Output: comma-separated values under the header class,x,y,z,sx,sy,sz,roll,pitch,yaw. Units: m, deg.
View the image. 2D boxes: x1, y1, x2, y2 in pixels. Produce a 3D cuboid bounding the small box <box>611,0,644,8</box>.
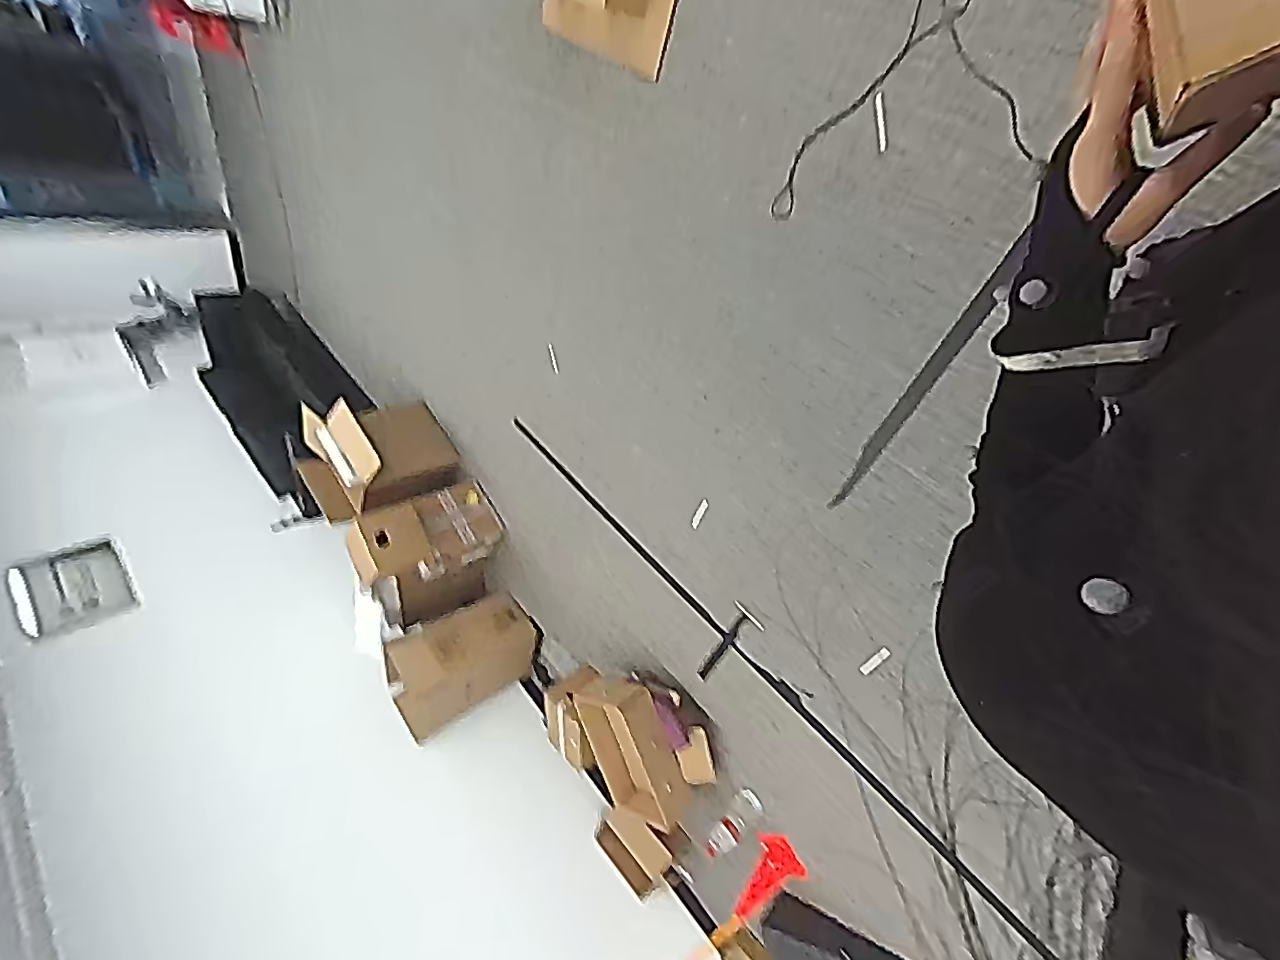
class,x,y,z,sx,sy,sz,roll,pitch,yaw
small box,-0.077,-1.489,1.551,0.179,0.176,0.168,42,135,27
